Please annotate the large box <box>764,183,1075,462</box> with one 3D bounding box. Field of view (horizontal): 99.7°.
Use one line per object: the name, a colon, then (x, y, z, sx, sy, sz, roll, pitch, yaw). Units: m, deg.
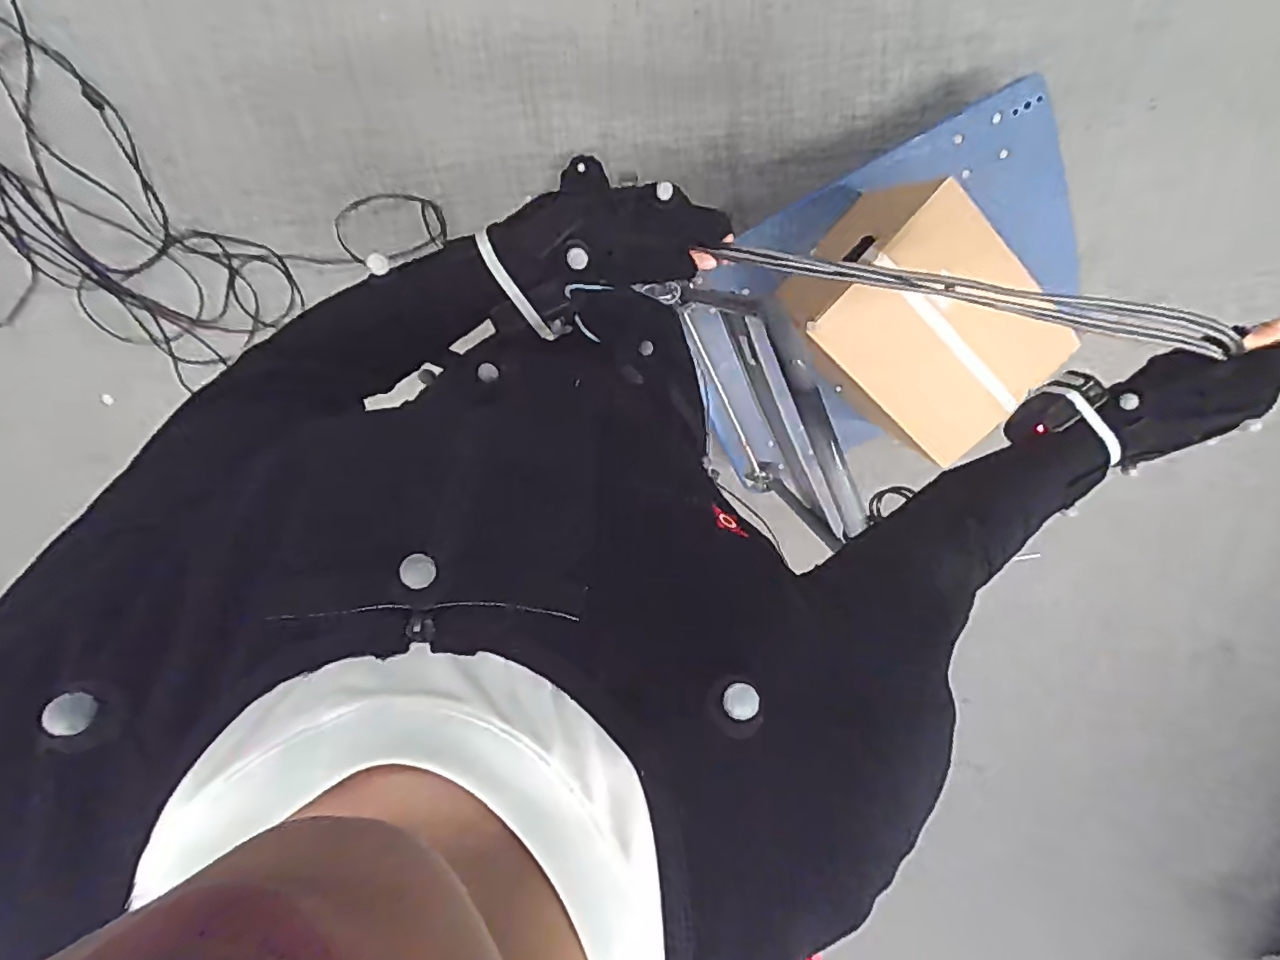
large box: (0.526, -0.309, 1.088, 0.408, 0.320, 0.320, 38, 105, -17)
